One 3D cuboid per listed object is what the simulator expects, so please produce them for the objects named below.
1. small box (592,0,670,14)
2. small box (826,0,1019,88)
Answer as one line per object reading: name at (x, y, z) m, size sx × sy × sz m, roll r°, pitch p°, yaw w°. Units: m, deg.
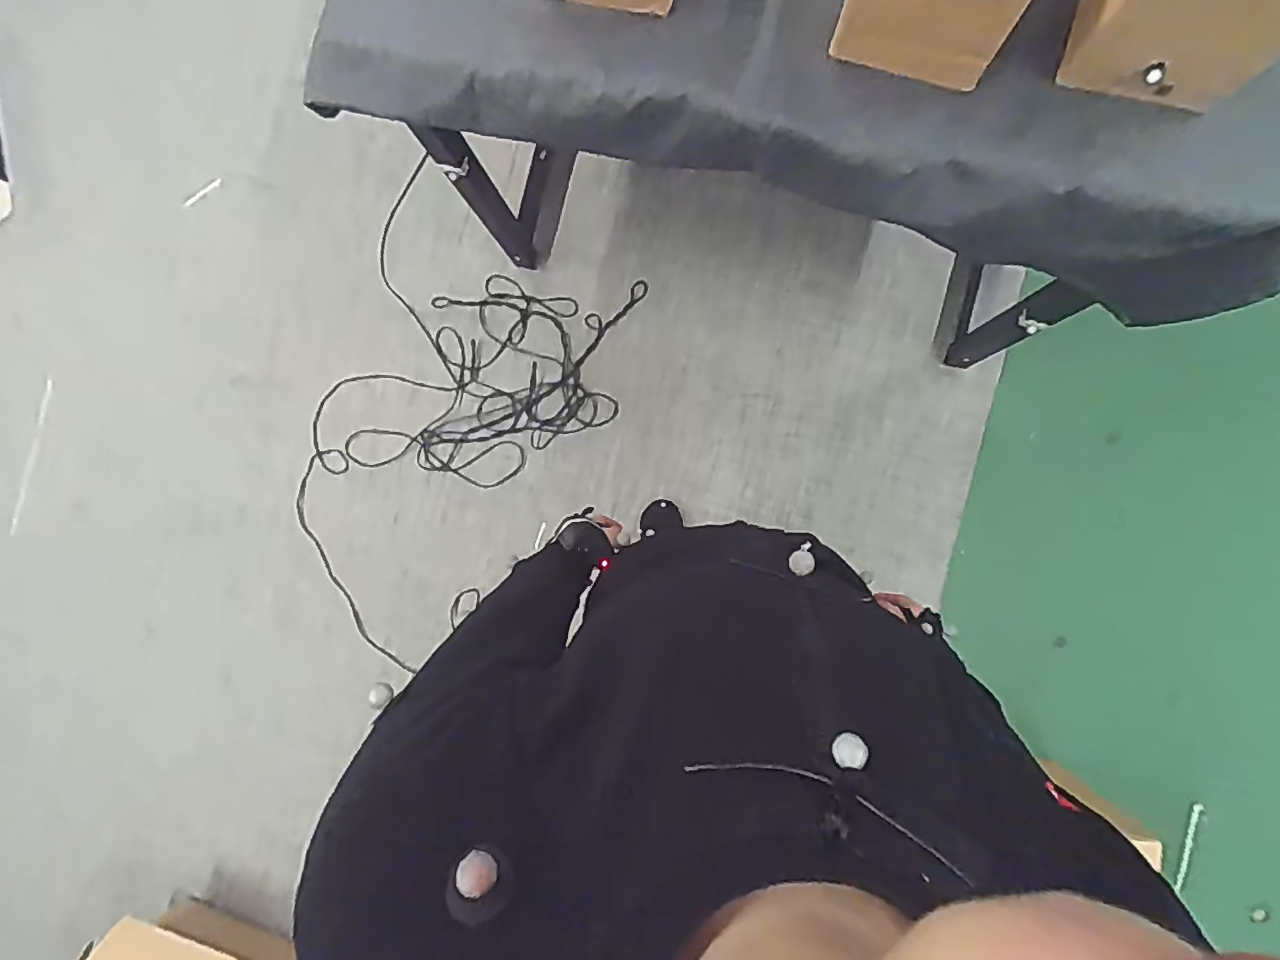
small box at (-0.037, -0.672, 0.598) m, size 0.179 × 0.176 × 0.168 m, roll 15°, pitch 90°, yaw 5°
small box at (0.316, -0.558, 0.562) m, size 0.179 × 0.176 × 0.168 m, roll 19°, pitch 89°, yaw 5°
